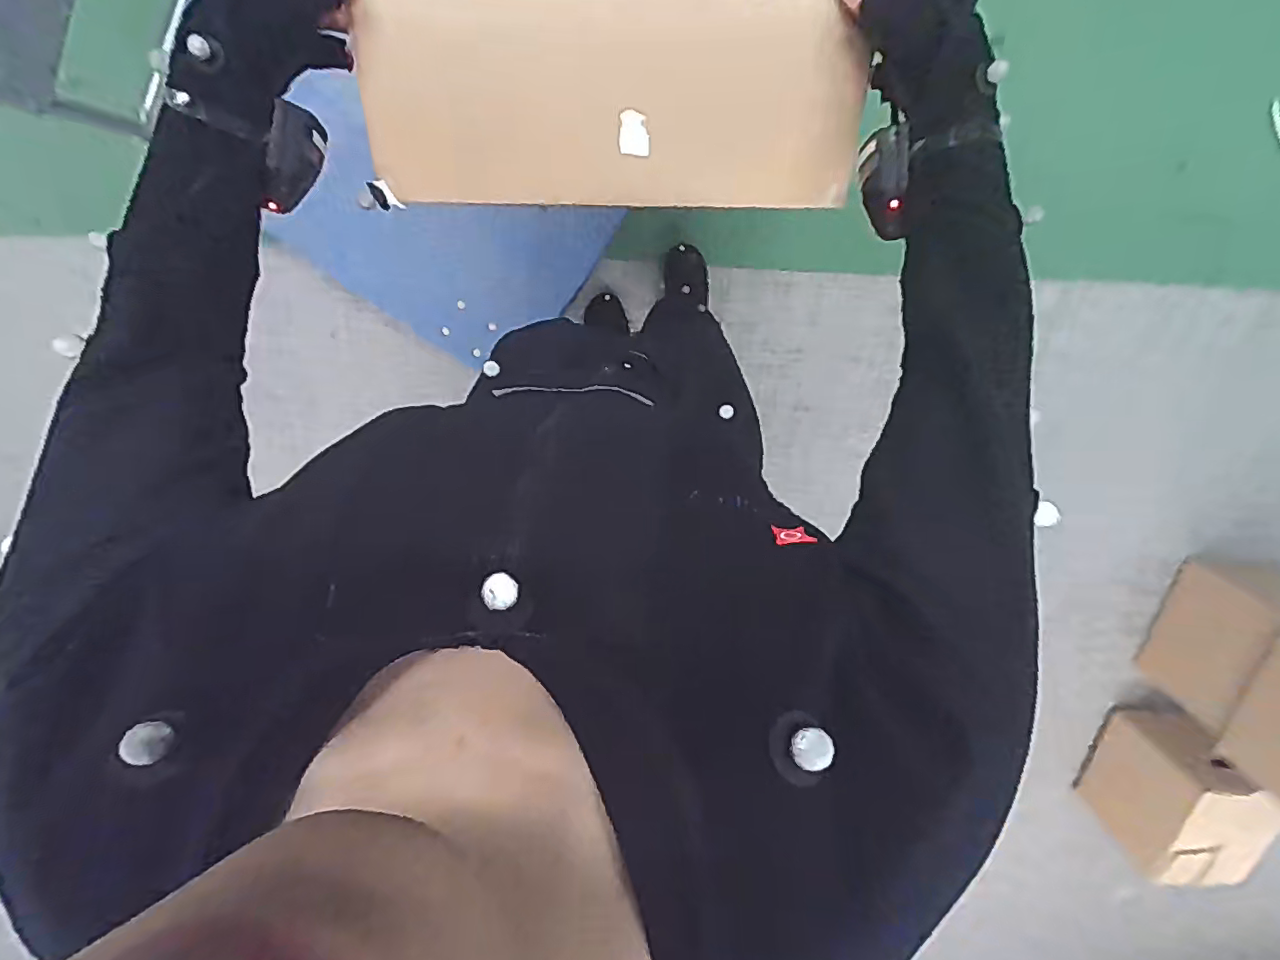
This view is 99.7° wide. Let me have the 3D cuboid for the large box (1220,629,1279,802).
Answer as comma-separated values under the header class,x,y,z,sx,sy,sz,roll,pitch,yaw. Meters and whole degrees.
class,x,y,z,sx,sy,sz,roll,pitch,yaw
large box,1.710,0.604,1.253,0.320,0.320,0.408,2,110,2
